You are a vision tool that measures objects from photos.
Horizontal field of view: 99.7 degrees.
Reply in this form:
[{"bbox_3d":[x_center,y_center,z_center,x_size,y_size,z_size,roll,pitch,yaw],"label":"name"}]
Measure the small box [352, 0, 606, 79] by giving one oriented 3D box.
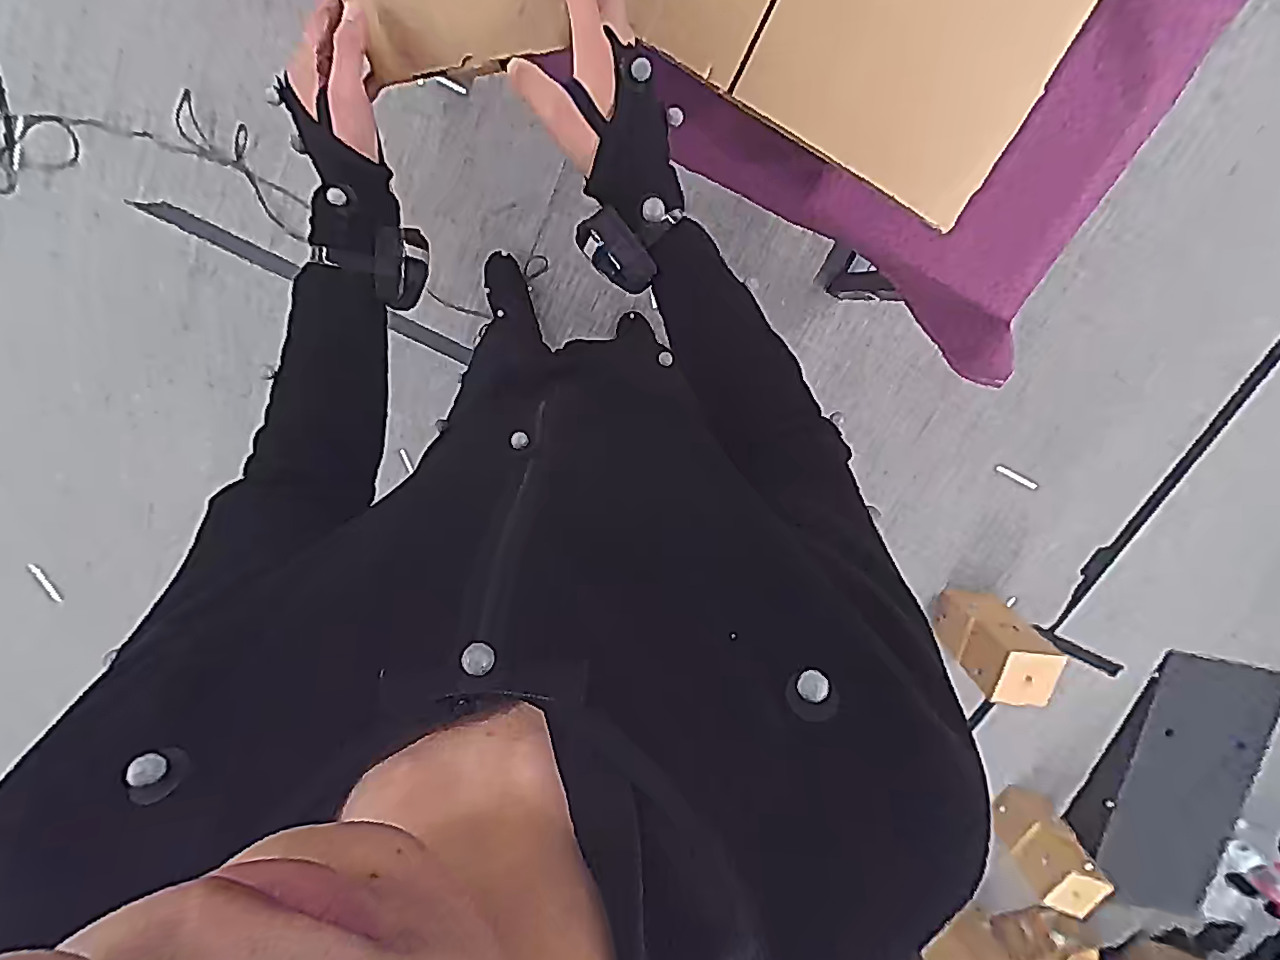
[{"bbox_3d":[-0.129,-0.441,0.412,0.168,0.176,0.179,-1,136,11],"label":"small box"}]
